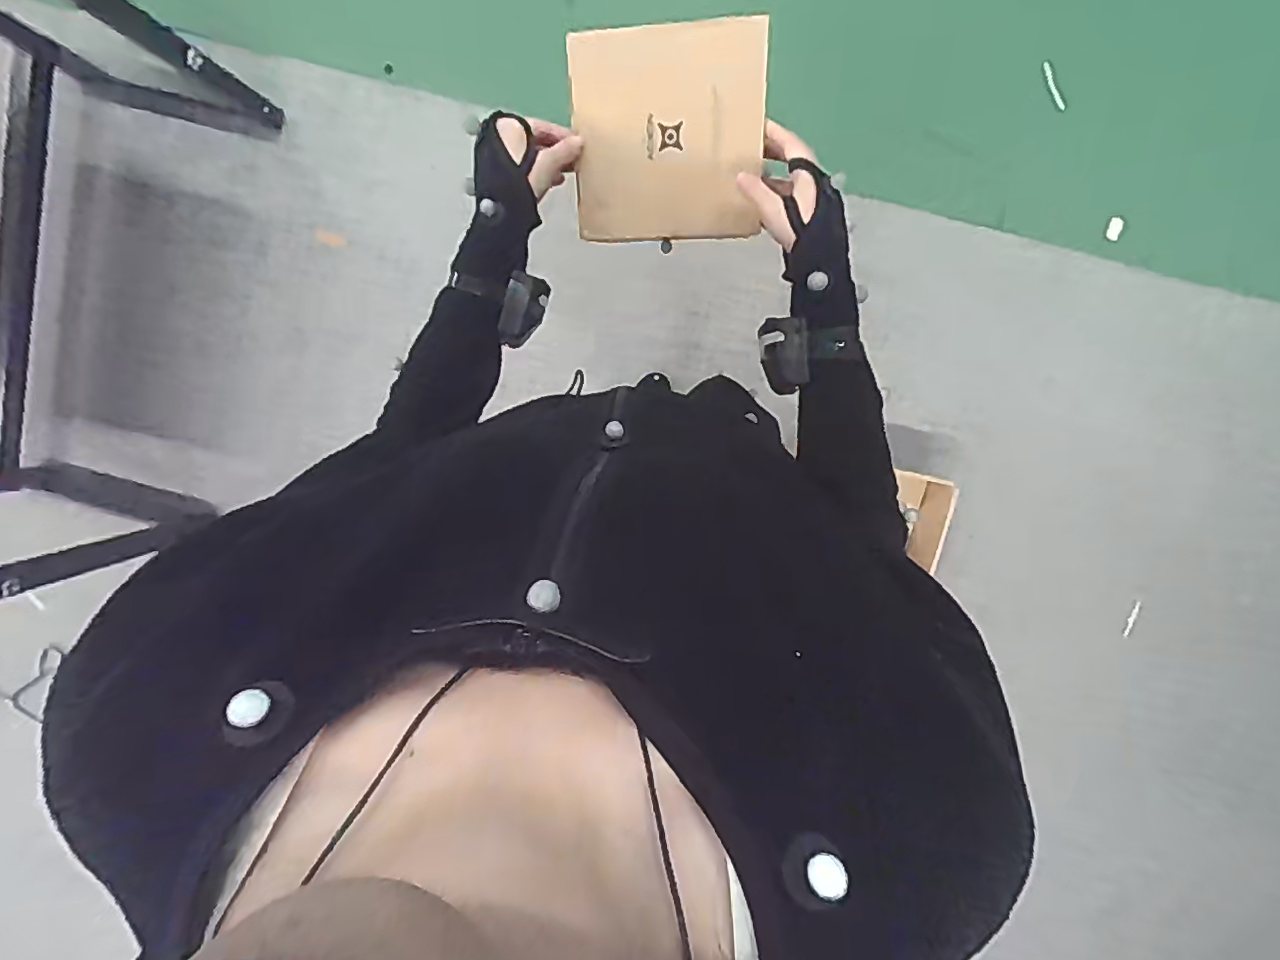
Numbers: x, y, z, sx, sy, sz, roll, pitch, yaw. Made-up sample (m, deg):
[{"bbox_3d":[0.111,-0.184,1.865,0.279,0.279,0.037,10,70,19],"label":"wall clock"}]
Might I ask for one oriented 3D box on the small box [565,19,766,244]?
[{"bbox_3d":[0.032,-0.340,0.563,0.179,0.176,0.168,1,112,8],"label":"small box"}]
